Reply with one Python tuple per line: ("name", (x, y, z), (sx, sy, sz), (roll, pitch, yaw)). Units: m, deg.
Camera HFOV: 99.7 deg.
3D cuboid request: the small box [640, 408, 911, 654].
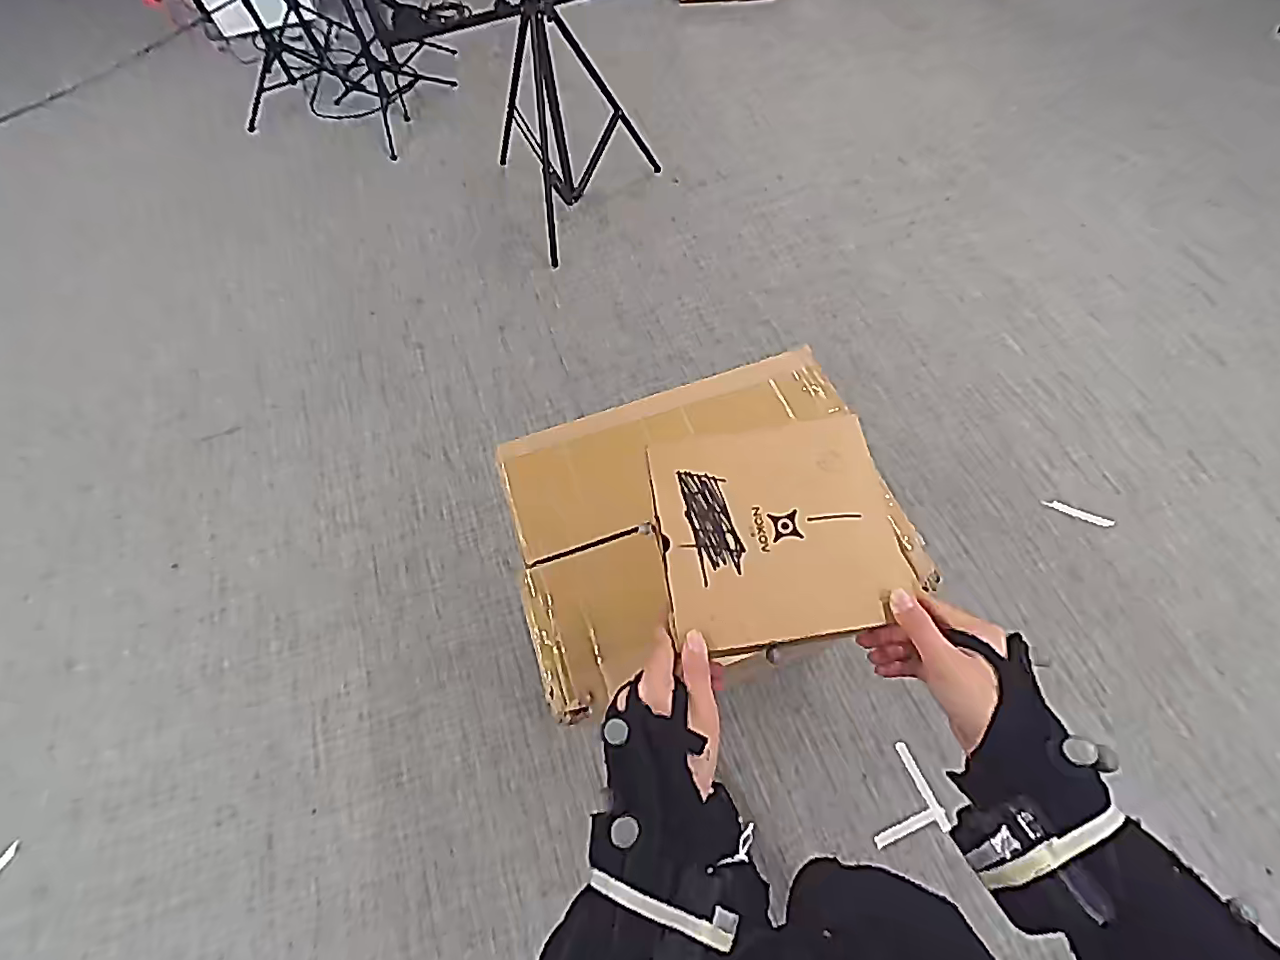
("small box", (0.101, 0.057, 0.485), (0.179, 0.176, 0.168), (-9, 69, -1))
